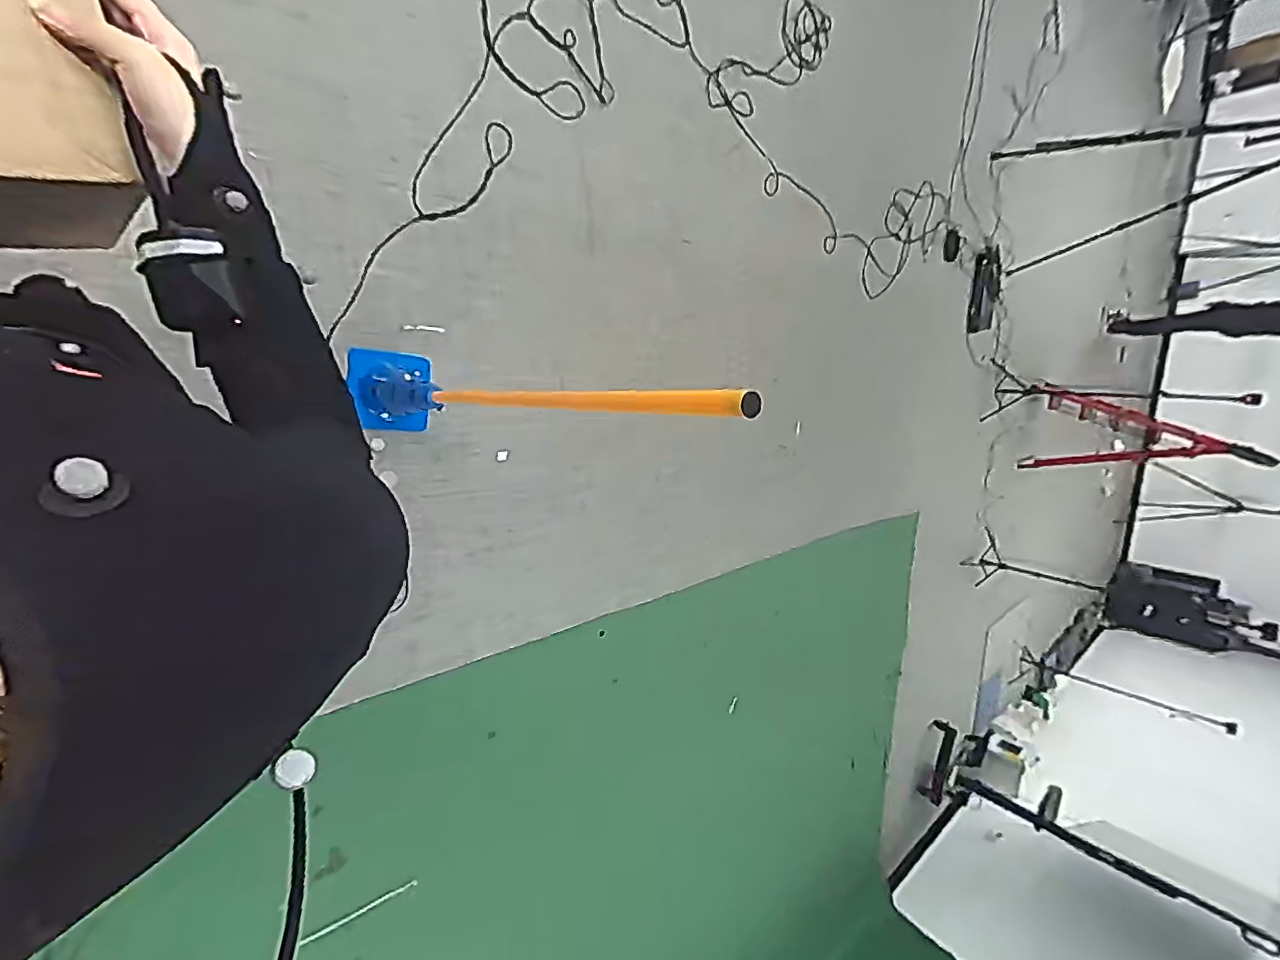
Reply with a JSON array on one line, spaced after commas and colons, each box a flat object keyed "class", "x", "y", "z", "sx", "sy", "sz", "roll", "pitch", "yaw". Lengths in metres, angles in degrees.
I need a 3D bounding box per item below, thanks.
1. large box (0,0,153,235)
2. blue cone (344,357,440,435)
[{"class": "large box", "x": -0.602, "y": -0.324, "z": 0.296, "sx": 0.408, "sy": 0.320, "sz": 0.320, "roll": -24, "pitch": 117, "yaw": -45}, {"class": "blue cone", "x": -0.552, "y": -0.188, "z": 1.271, "sx": 0.193, "sy": 0.380, "sz": 0.192, "roll": 2, "pitch": 98, "yaw": -40}]
